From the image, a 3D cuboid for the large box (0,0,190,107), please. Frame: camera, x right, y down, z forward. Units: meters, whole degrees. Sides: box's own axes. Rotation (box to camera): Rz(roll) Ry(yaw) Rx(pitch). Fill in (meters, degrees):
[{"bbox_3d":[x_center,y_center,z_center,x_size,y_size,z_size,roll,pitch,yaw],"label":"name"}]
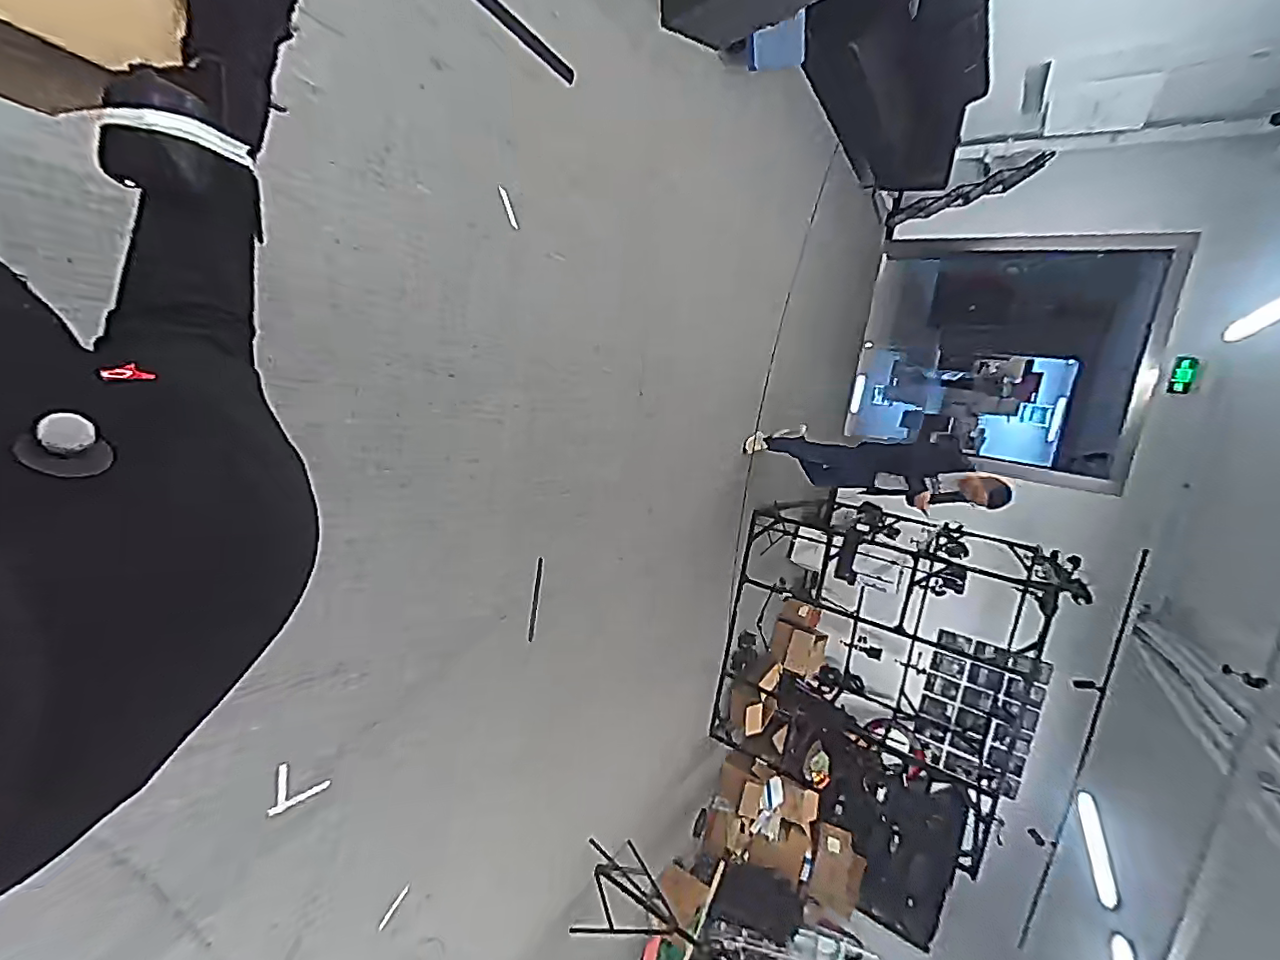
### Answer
[{"bbox_3d":[-0.513,-0.455,0.260,0.408,0.320,0.320,-1,109,-59],"label":"large box"}]
